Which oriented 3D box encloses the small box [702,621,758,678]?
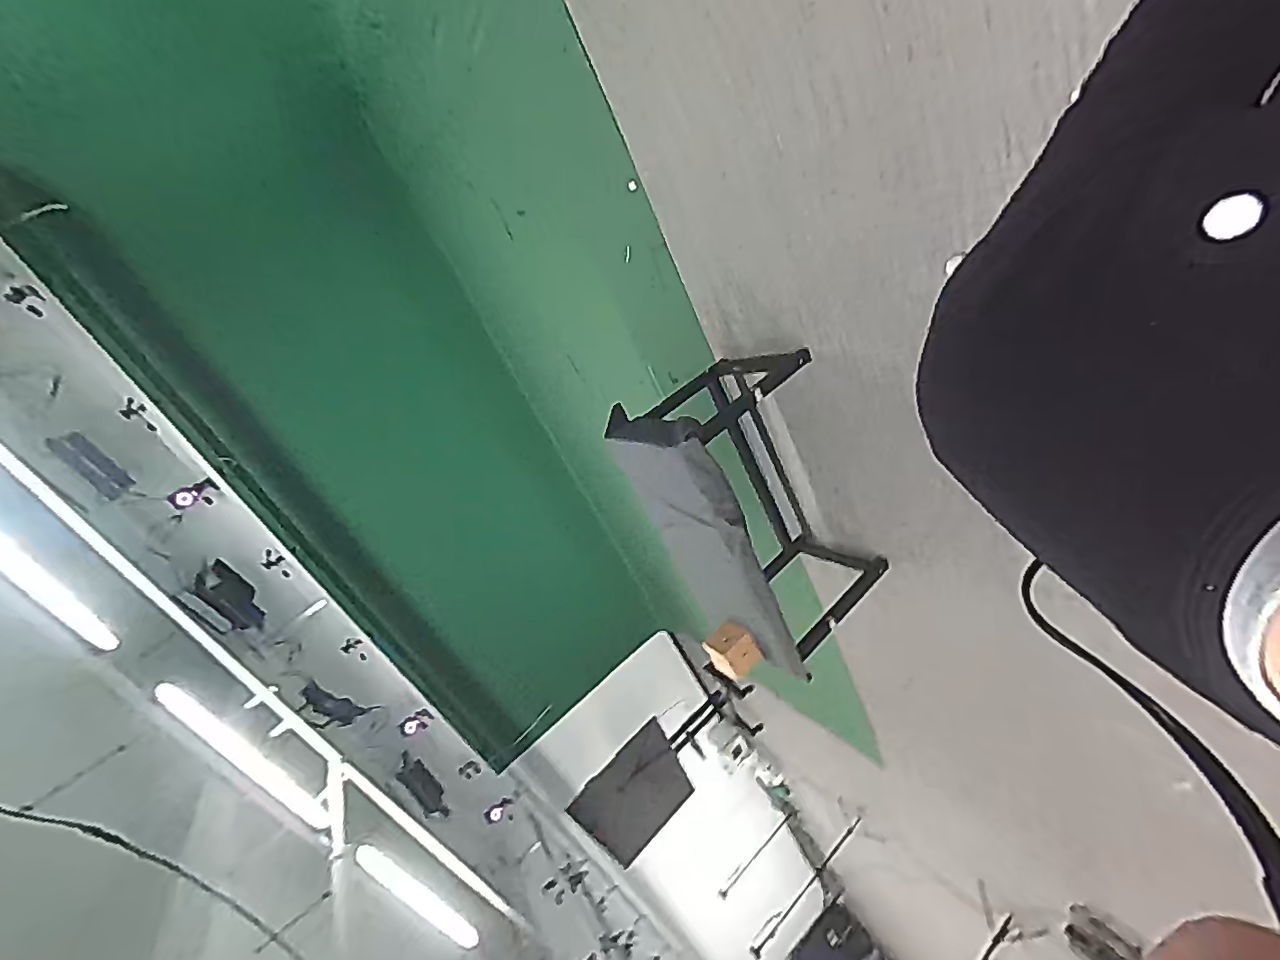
[{"bbox_3d":[0.432,0.790,2.542,0.168,0.176,0.179,60,158,-18],"label":"small box"}]
